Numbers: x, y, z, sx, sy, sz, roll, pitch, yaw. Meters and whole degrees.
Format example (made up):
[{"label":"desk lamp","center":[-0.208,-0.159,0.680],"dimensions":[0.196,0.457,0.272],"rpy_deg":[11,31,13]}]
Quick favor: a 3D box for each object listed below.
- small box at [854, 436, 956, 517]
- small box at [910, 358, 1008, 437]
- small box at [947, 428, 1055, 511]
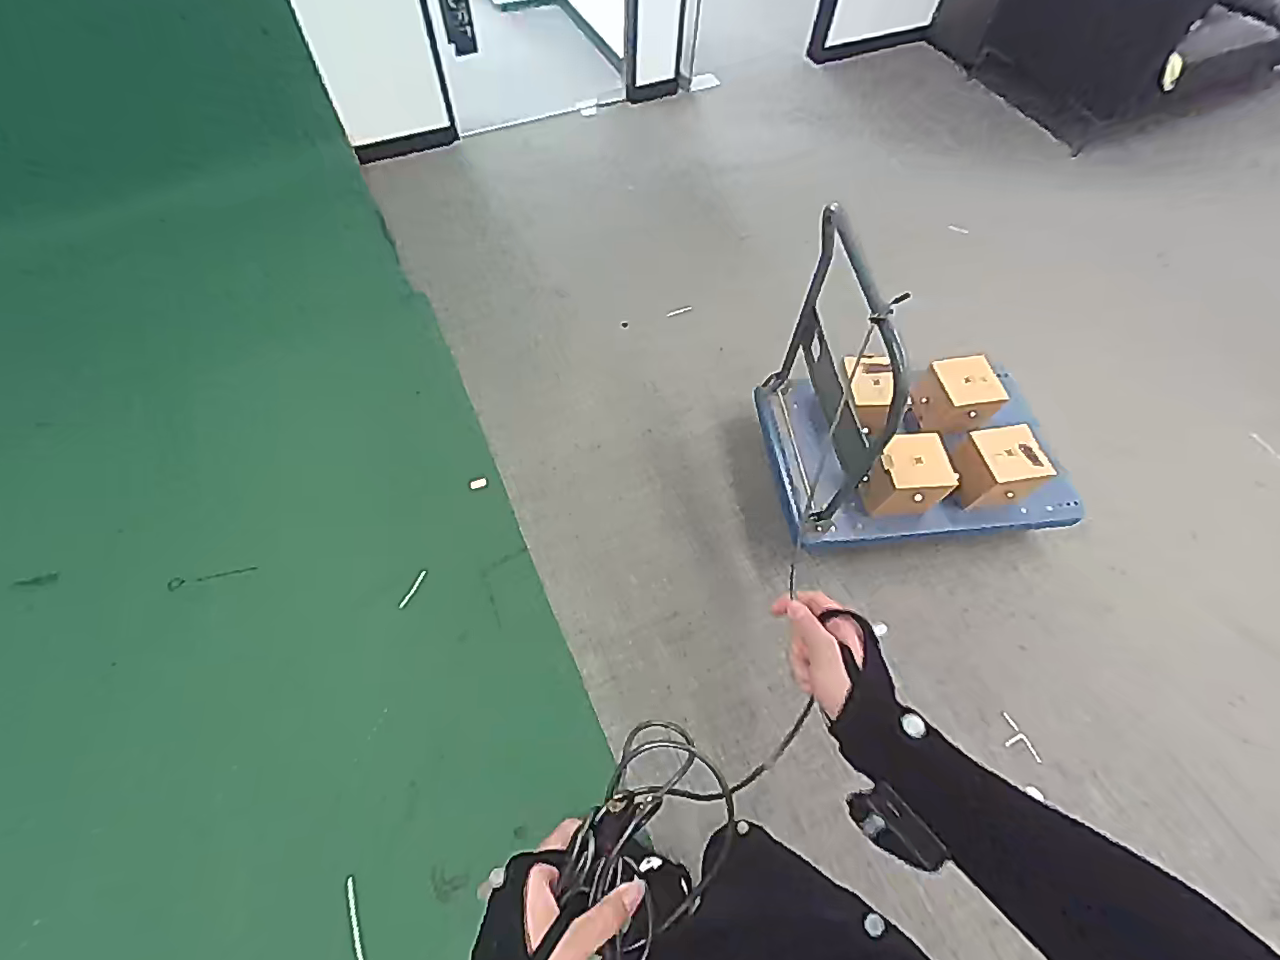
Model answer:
[{"label":"small box","center":[0.727,-0.007,1.502],"dimensions":[0.179,0.176,0.168],"rpy_deg":[-3,61,-3]},{"label":"small box","center":[0.952,-0.244,1.640],"dimensions":[0.179,0.176,0.168],"rpy_deg":[-7,62,-7]},{"label":"small box","center":[0.996,-0.026,1.522],"dimensions":[0.179,0.176,0.168],"rpy_deg":[-8,61,-5]}]
